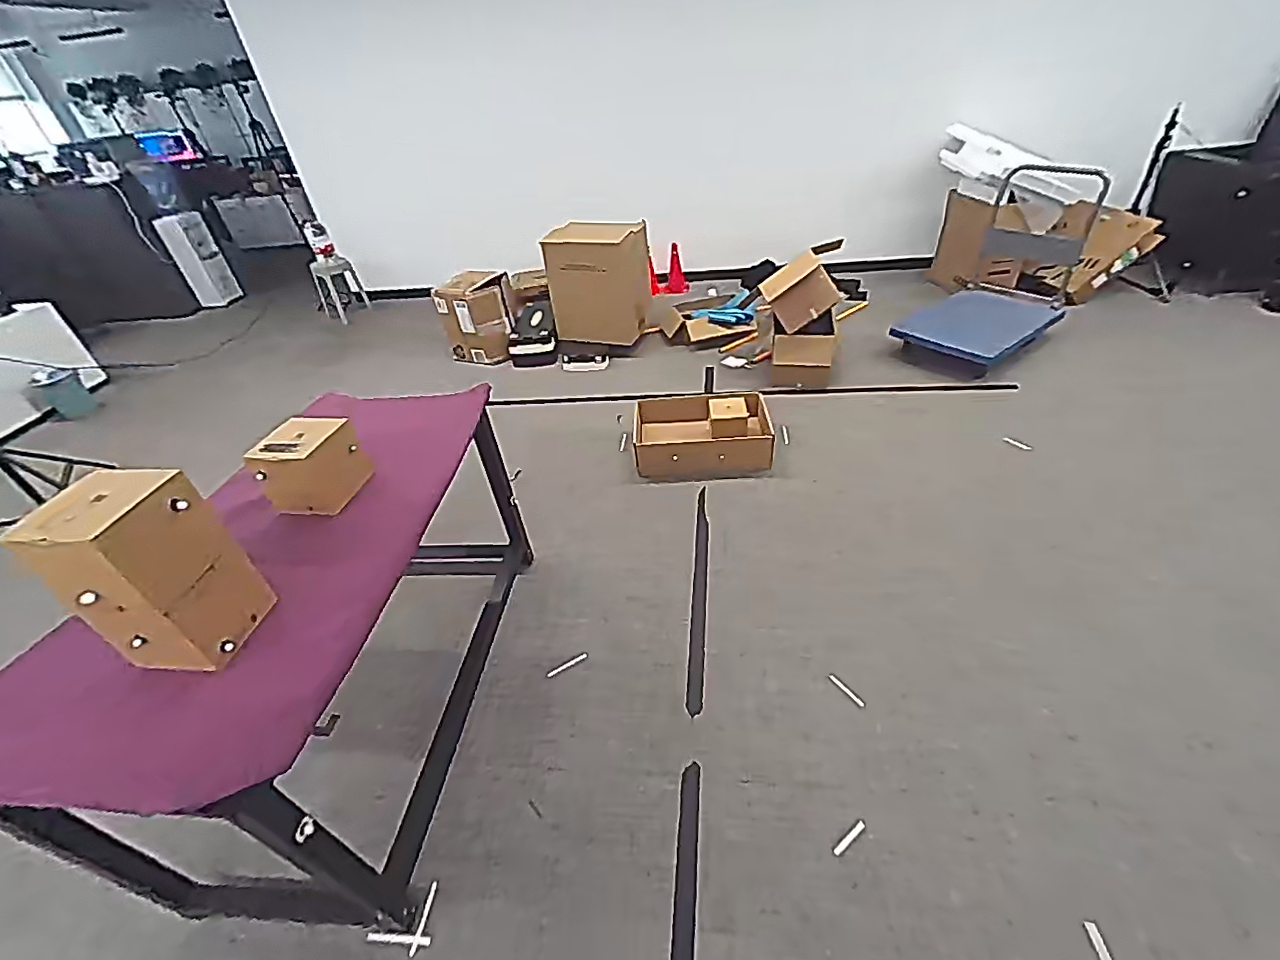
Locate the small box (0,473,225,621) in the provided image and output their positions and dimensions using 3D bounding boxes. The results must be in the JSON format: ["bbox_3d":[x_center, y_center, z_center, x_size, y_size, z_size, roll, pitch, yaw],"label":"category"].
[{"bbox_3d":[-0.834,0.106,0.885,0.168,0.176,0.179,-1,37,7],"label":"small box"}]

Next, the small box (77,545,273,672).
[{"bbox_3d":[-0.828,0.234,0.988,0.179,0.176,0.168,-1,37,8],"label":"small box"}]

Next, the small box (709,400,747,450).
[{"bbox_3d":[0.410,-0.257,2.544,0.168,0.176,0.179,-4,38,5],"label":"small box"}]
